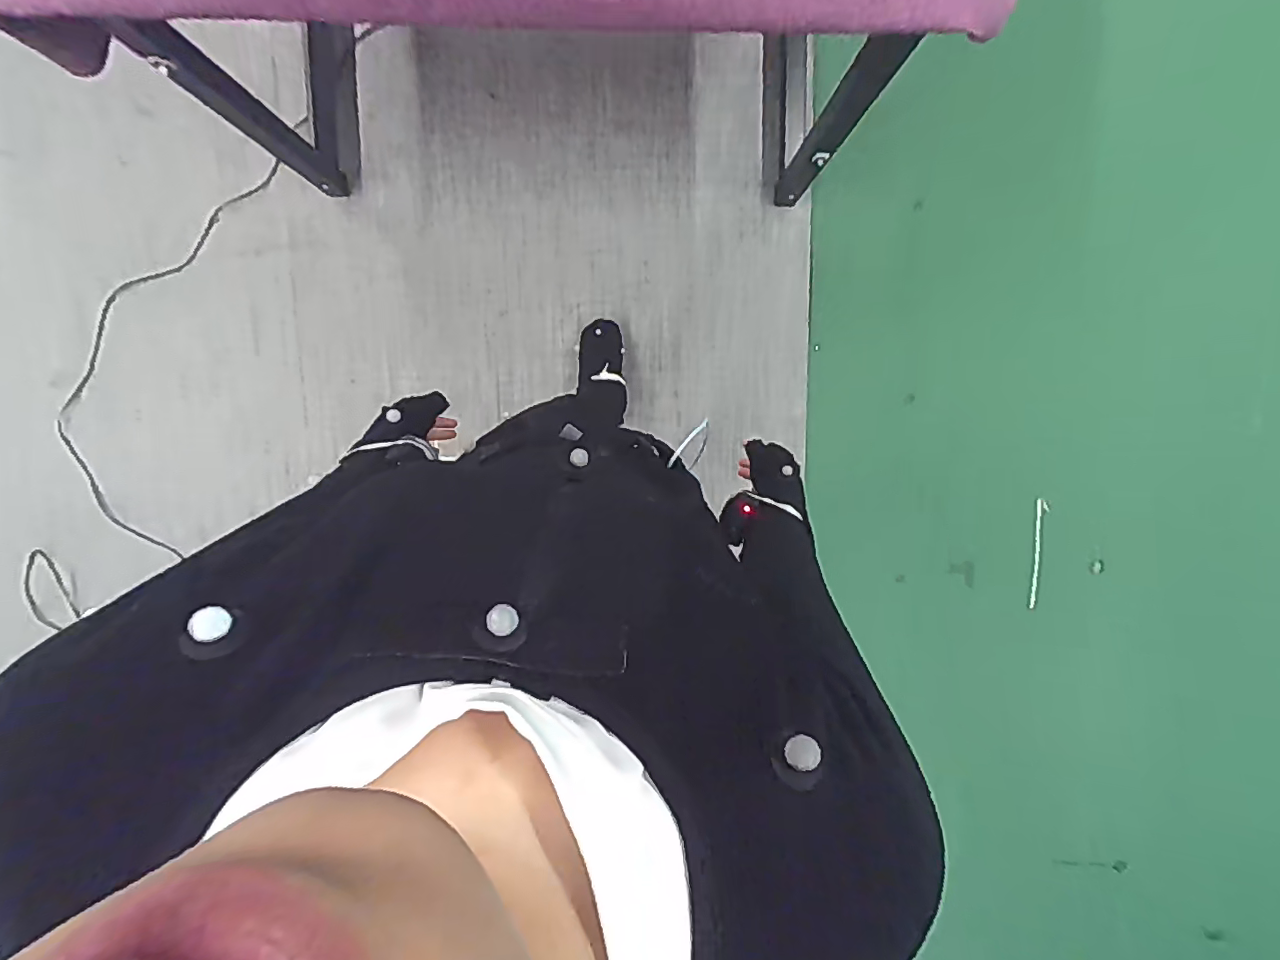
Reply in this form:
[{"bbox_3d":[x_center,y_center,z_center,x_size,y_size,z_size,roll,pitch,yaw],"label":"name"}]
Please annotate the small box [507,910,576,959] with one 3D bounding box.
[{"bbox_3d":[-0.268,1.332,1.483,0.168,0.176,0.179,-1,98,-1],"label":"small box"}]
